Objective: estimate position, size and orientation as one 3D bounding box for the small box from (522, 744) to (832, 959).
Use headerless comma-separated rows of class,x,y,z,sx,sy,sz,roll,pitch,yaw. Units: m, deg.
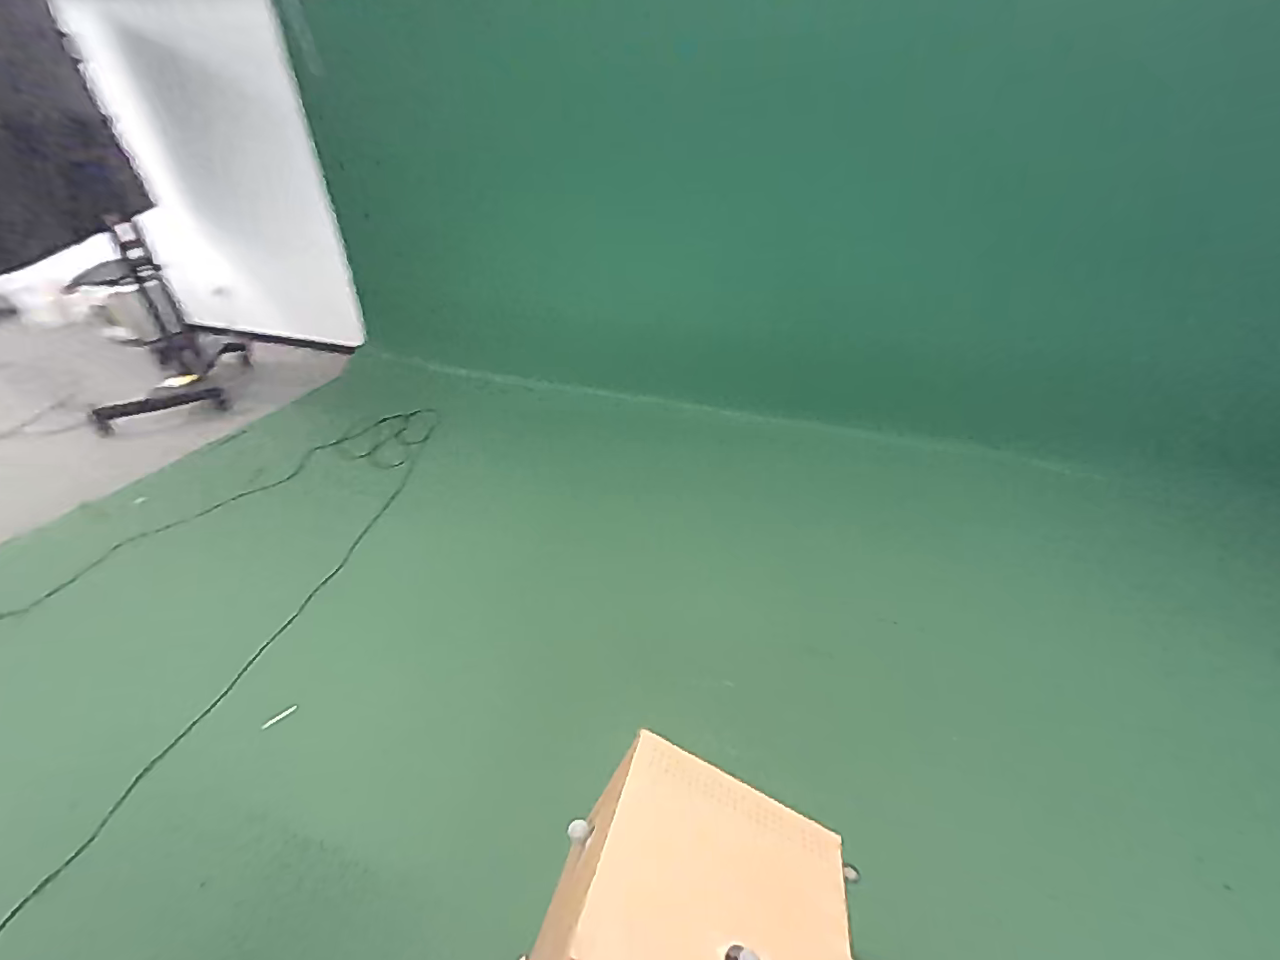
small box,0.022,0.331,0.385,0.179,0.168,0.176,27,24,5
